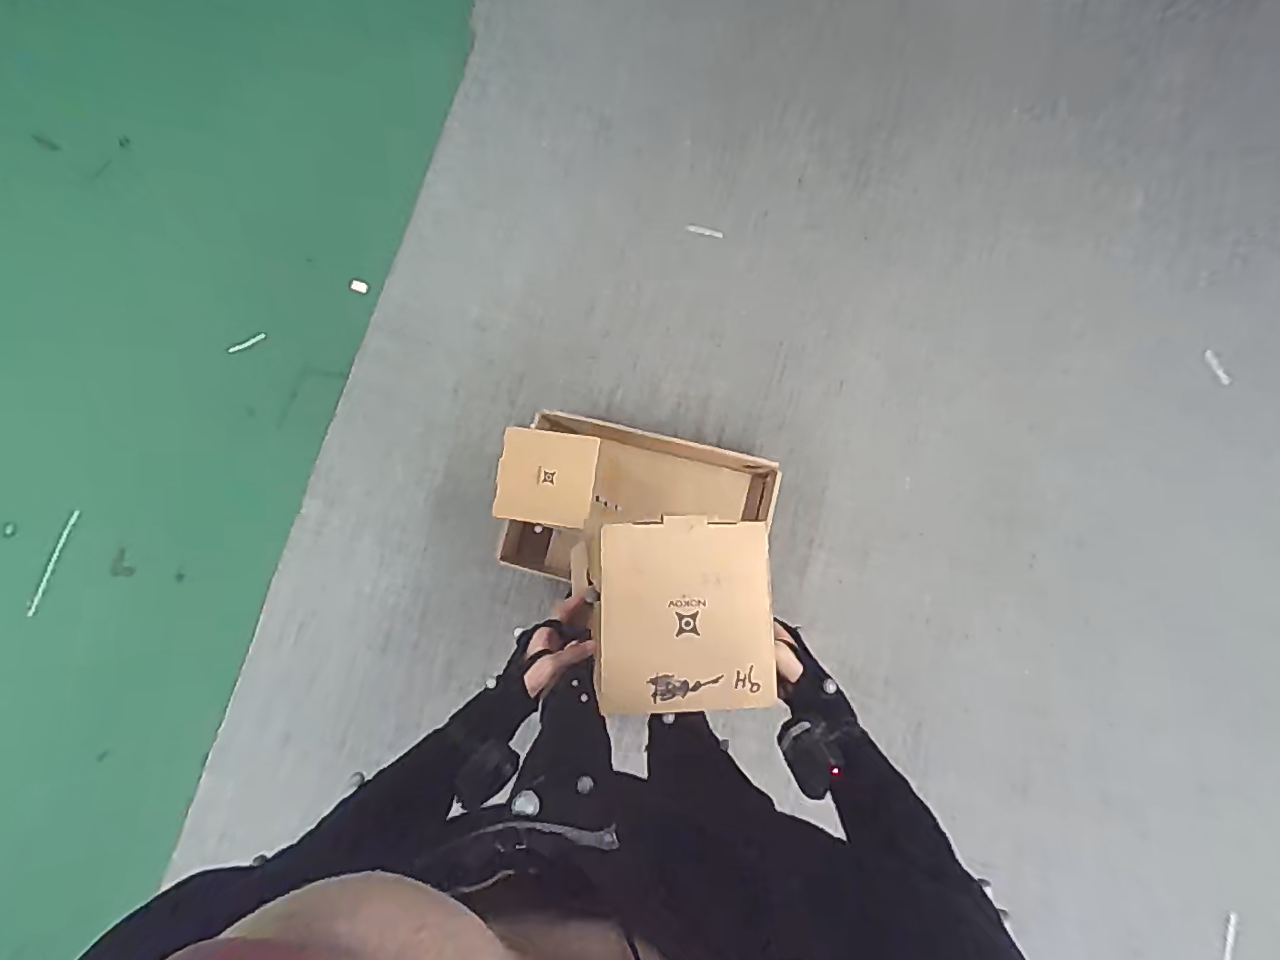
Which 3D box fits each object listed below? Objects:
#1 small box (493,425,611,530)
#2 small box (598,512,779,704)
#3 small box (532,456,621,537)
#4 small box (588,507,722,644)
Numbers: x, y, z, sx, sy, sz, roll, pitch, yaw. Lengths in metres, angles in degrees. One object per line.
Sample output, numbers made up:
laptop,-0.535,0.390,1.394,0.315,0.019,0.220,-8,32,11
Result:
small box,-0.156,0.001,1.026,0.179,0.176,0.168,8,85,5
small box,0.040,0.133,0.590,0.168,0.176,0.179,0,80,-6
small box,-0.143,0.022,1.188,0.168,0.176,0.179,15,85,4
small box,0.020,0.134,0.759,0.179,0.176,0.168,-3,80,-6
